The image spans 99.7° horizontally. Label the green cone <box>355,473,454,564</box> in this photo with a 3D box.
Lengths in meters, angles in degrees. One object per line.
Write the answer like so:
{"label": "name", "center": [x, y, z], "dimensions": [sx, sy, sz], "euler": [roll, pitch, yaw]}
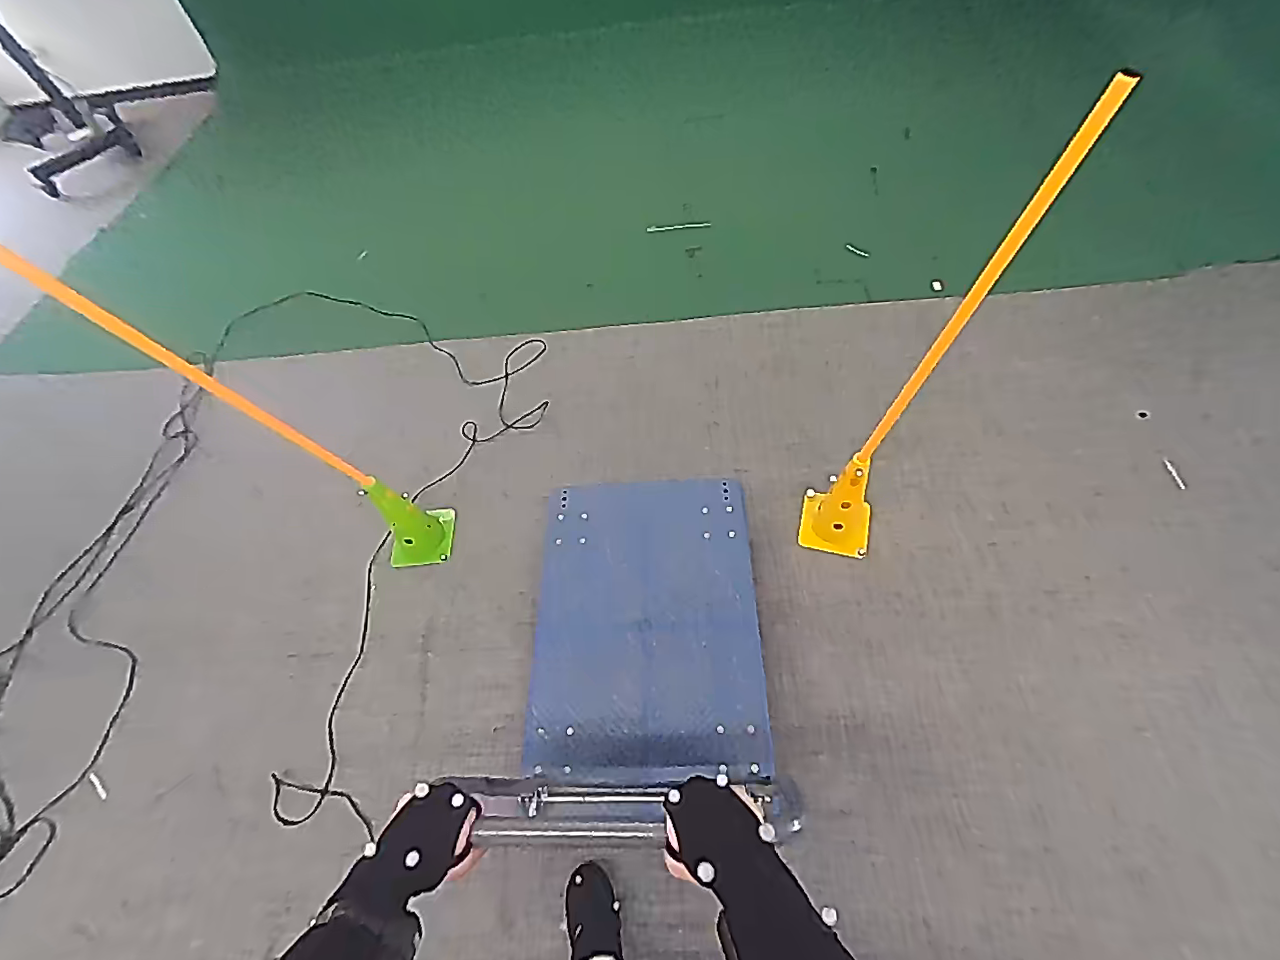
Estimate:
{"label": "green cone", "center": [-0.748, 0.087, 1.660], "dimensions": [0.202, 0.368, 0.200], "euler": [-8, 57, 4]}
